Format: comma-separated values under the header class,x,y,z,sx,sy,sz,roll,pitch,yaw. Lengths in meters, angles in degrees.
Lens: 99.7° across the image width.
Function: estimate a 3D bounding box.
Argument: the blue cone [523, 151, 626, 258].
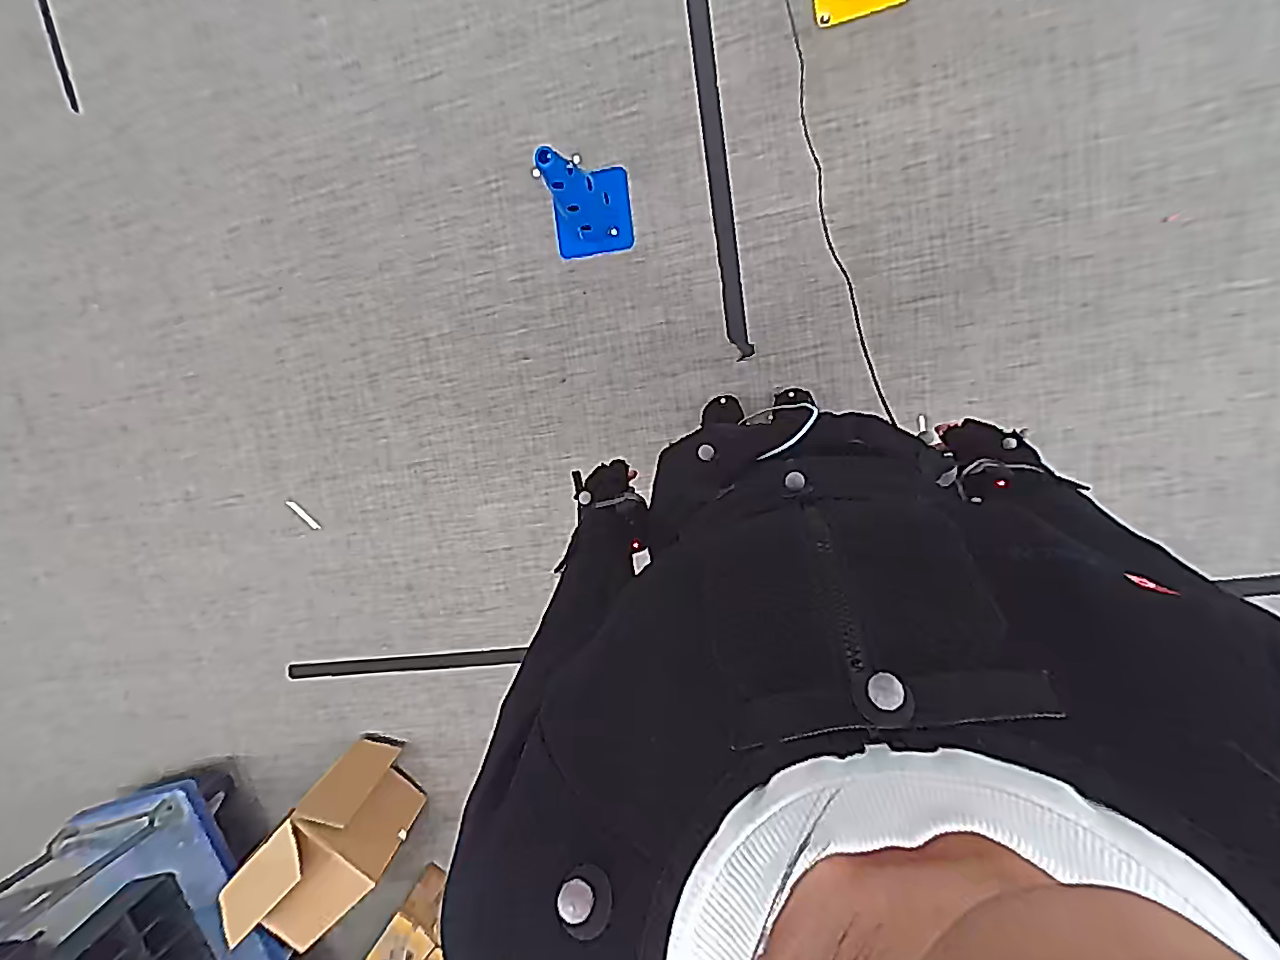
class,x,y,z,sx,sy,sz,roll,pitch,yaw
blue cone,-0.165,-0.653,1.225,0.192,0.380,0.193,-3,99,12
